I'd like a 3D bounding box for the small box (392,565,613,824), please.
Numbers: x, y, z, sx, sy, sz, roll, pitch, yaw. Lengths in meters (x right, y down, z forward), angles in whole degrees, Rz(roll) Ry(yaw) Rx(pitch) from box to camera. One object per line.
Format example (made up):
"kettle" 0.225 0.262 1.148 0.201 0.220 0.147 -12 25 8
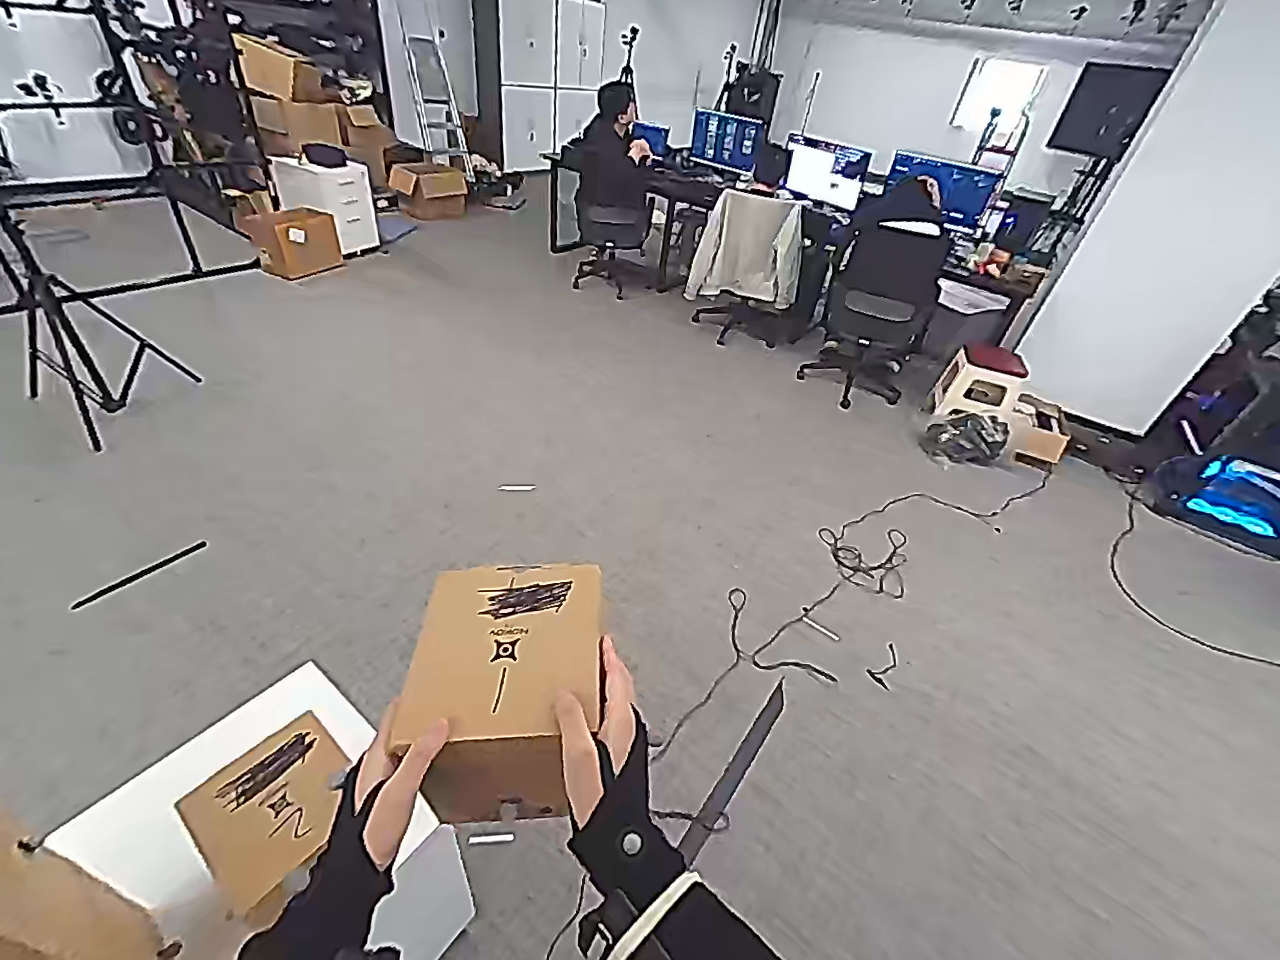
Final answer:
"small box" -0.114 0.206 0.531 0.168 0.176 0.179 -3 40 -2

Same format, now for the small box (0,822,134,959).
"small box" -0.578 0.439 0.454 0.179 0.176 0.168 28 42 24

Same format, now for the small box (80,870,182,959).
"small box" -0.598 0.565 0.556 0.179 0.176 0.168 29 43 25
